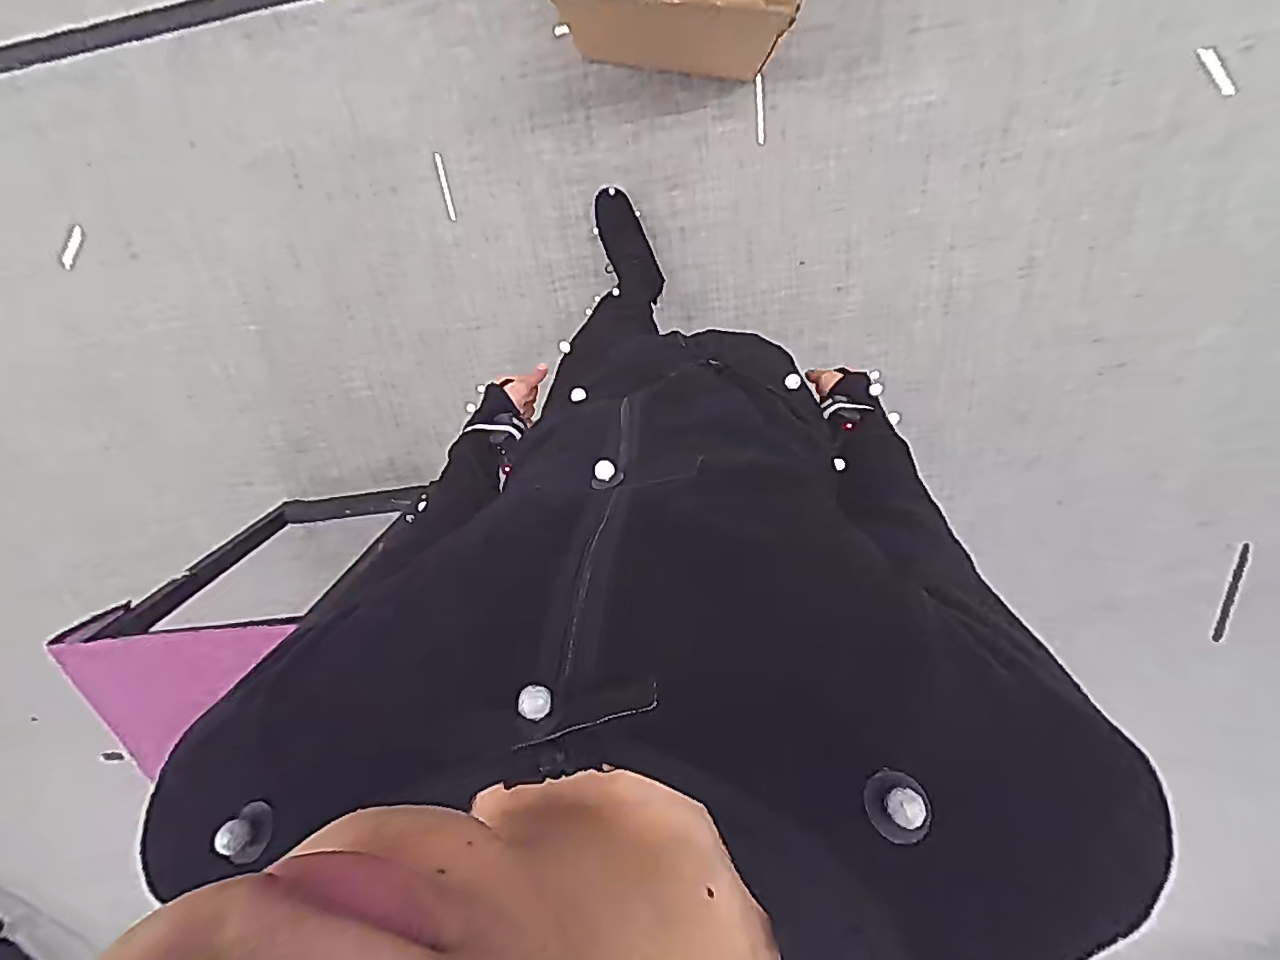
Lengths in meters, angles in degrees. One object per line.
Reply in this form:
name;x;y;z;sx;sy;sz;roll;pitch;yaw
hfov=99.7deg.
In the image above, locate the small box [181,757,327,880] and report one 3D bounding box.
small box;-0.837;0.743;1.200;0.179;0.176;0.168;-14;113;10
